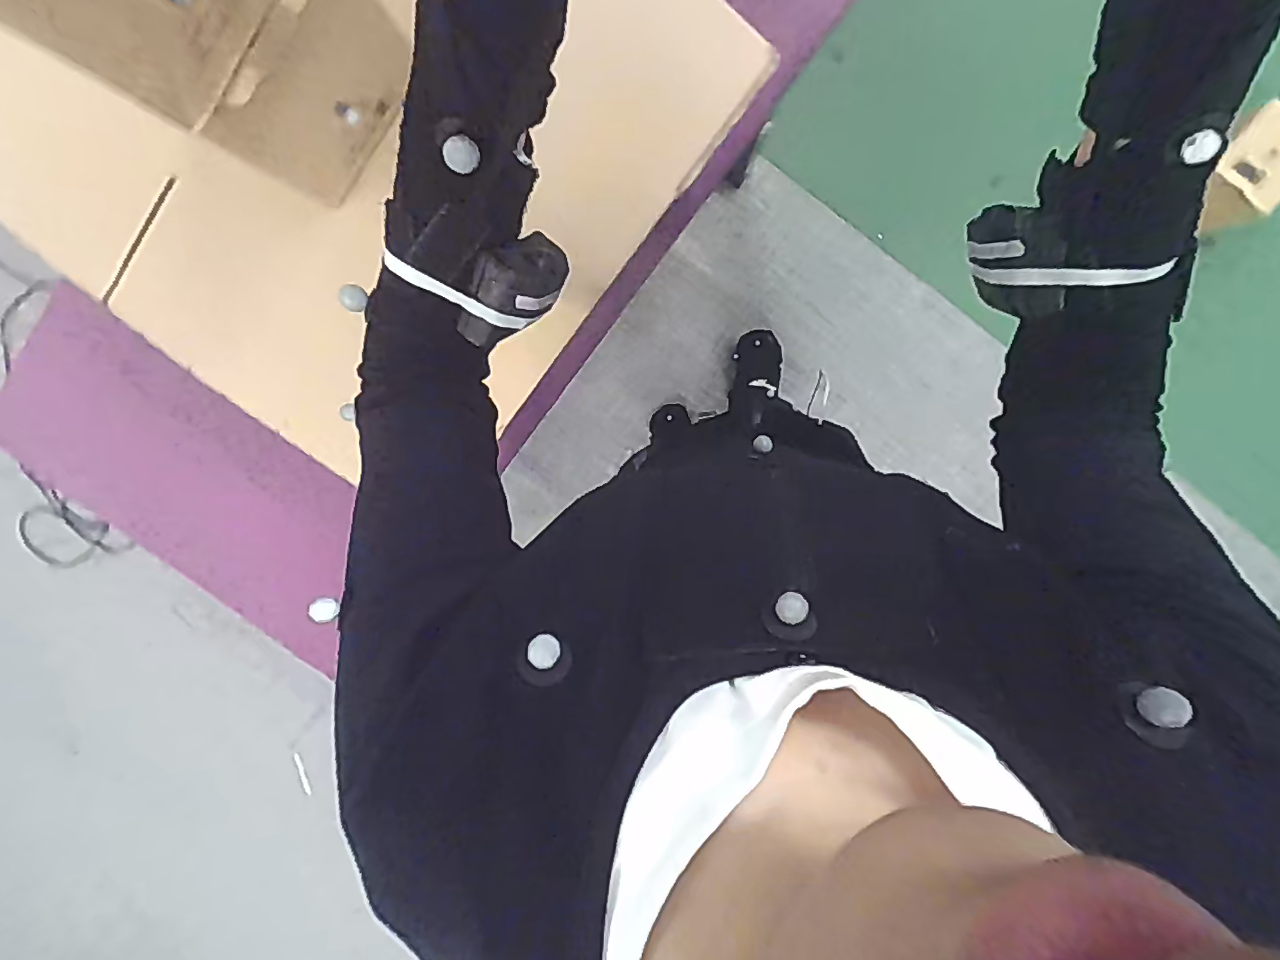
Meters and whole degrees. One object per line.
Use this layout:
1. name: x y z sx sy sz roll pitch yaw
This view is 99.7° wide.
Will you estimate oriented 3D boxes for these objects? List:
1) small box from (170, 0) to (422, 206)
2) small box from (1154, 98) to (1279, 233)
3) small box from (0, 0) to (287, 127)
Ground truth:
1. small box: -0.323 -0.364 0.443 0.179 0.176 0.168 38 99 -3
2. small box: 1.343 -0.700 1.232 0.168 0.176 0.179 37 98 -4
3. small box: -0.328 -0.336 0.282 0.179 0.176 0.168 36 99 -3
